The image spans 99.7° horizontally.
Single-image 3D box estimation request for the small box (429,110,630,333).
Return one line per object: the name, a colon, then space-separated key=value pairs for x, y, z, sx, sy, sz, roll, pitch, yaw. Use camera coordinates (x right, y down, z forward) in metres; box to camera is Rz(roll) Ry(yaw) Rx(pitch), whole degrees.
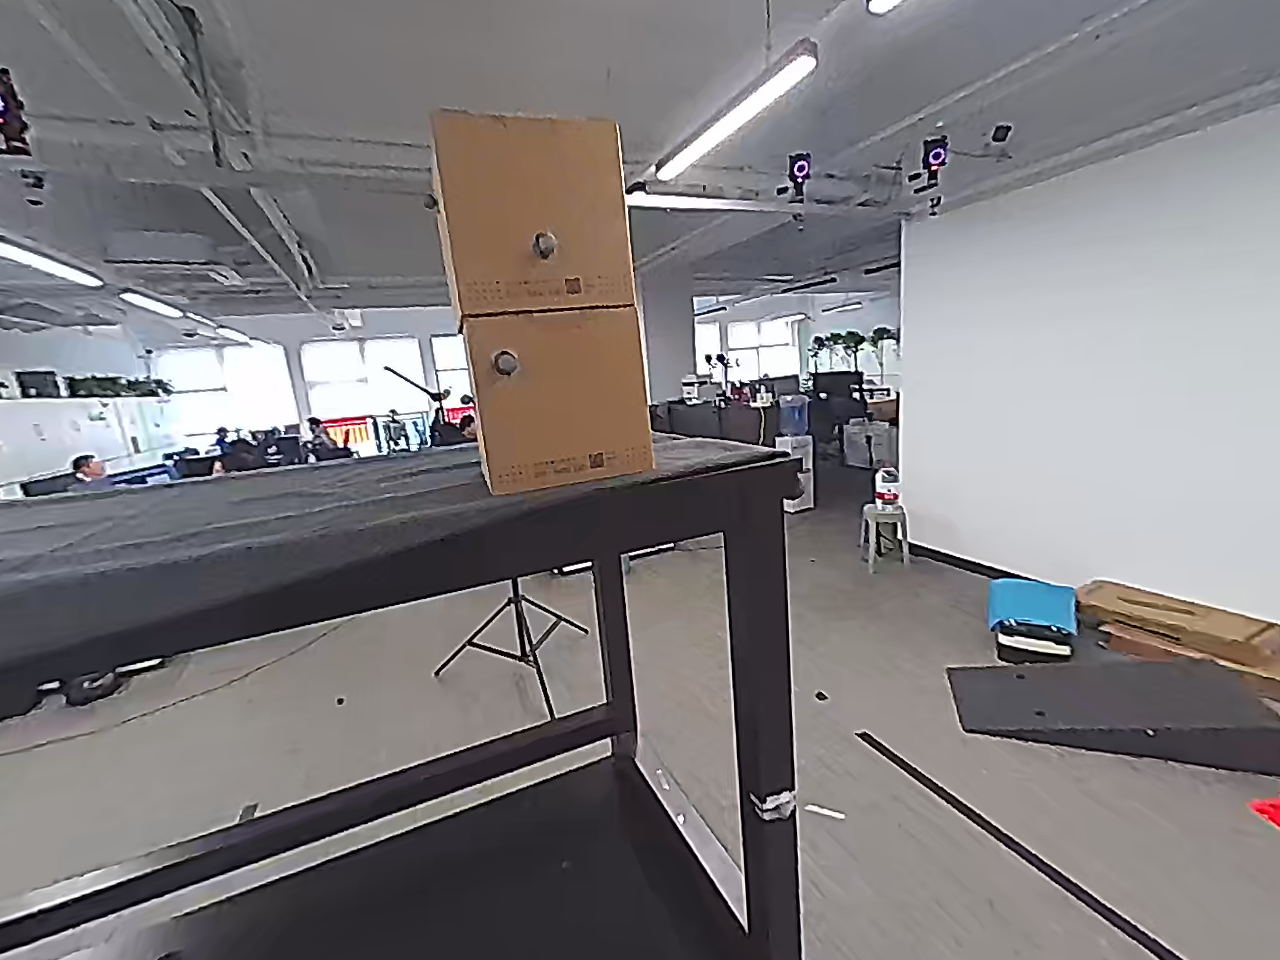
small box: x=-0.119 y=-0.252 z=0.568 sx=0.168 sy=0.176 sz=0.179 roll=-11 pitch=12 yaw=-18
